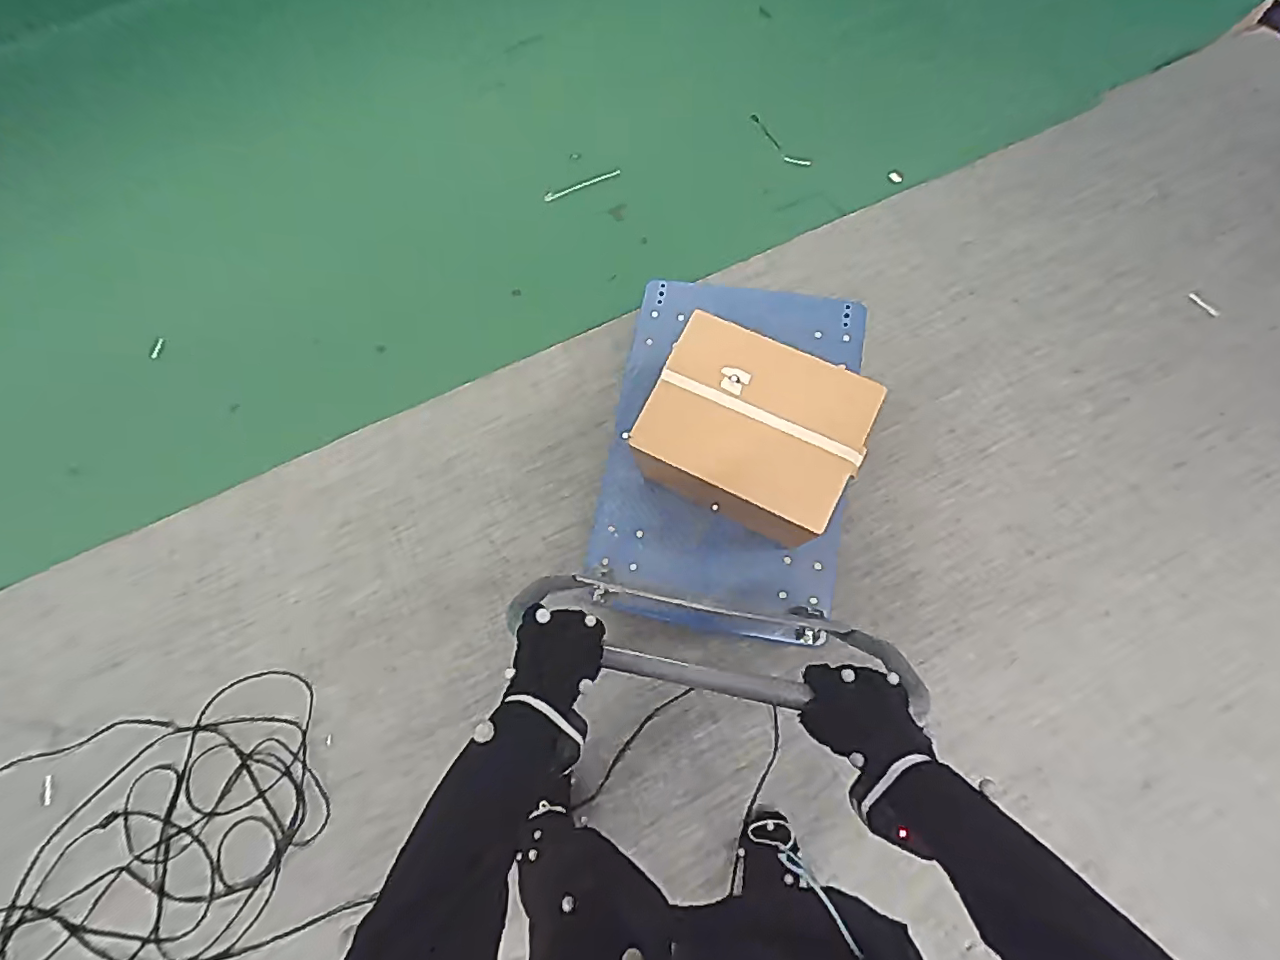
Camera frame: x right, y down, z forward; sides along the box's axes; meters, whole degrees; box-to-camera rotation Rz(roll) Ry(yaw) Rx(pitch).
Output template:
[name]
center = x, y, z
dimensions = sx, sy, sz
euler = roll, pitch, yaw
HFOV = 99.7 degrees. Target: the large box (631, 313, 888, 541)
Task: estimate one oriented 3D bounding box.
[large box]
center = 0.244, -0.094, 1.169
dimensions = 0.408, 0.320, 0.320
euler = 25, 82, 12
